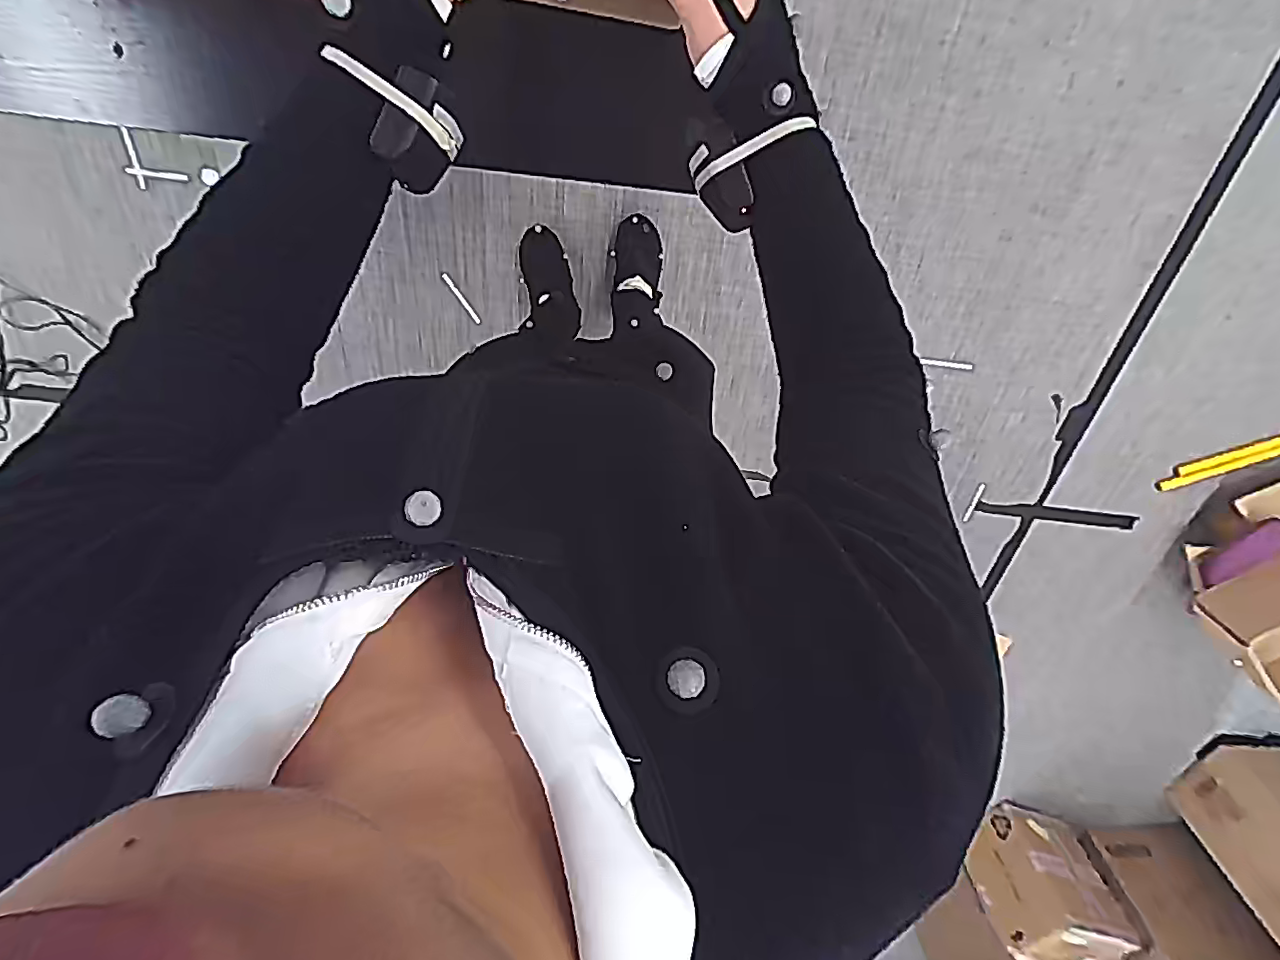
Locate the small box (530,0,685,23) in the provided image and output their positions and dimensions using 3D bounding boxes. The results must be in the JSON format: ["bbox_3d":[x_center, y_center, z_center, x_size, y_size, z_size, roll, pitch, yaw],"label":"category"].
[{"bbox_3d":[-0.037,-0.470,0.400,0.179,0.176,0.168,7,121,-3],"label":"small box"}]
